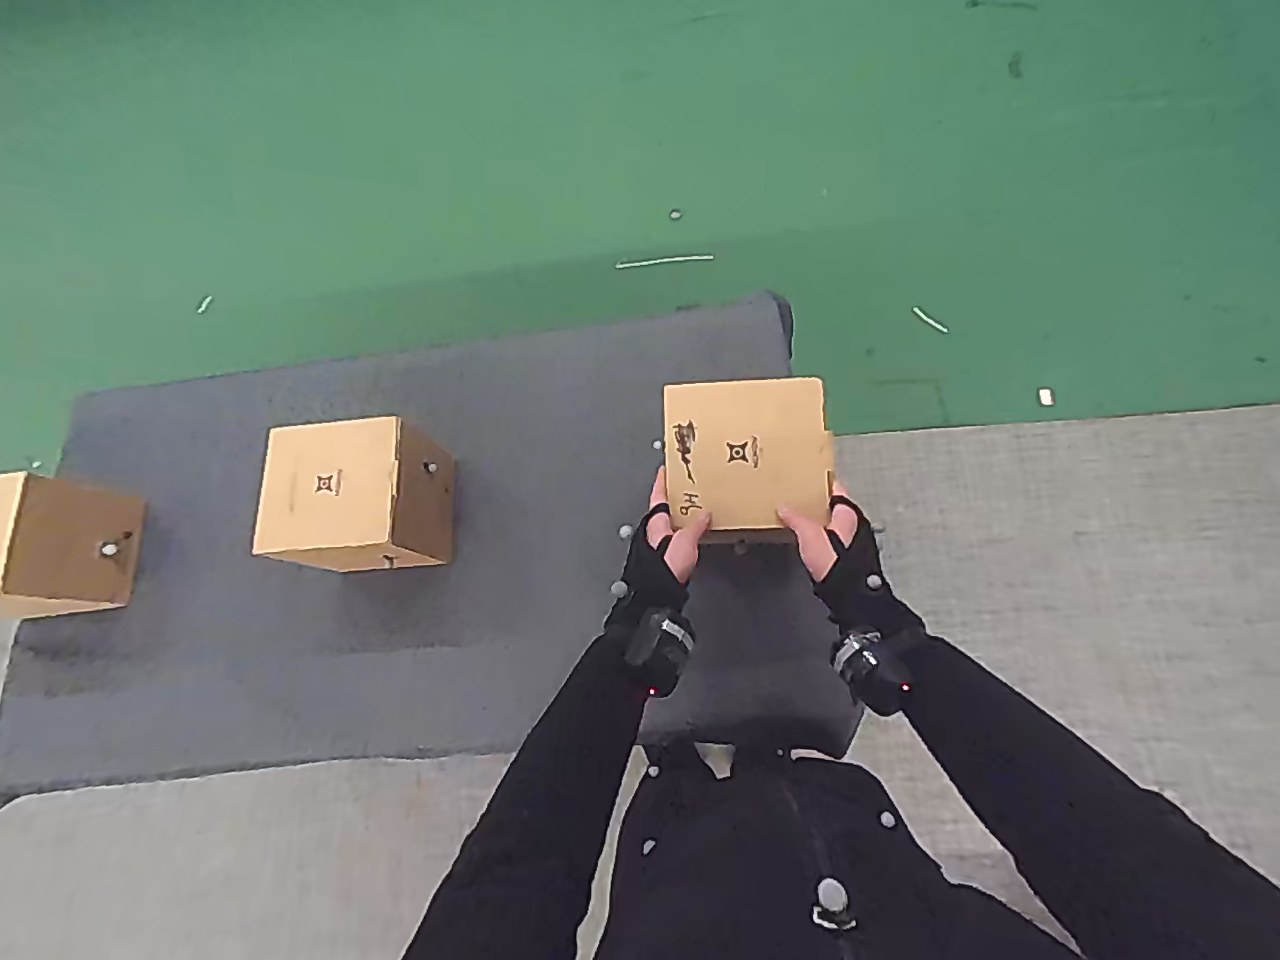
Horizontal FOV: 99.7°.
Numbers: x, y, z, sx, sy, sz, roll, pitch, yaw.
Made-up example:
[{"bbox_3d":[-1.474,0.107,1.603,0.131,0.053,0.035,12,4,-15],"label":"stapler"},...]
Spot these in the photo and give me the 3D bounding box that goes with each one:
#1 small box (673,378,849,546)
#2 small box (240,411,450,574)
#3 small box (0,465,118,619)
[{"bbox_3d":[0.130,-0.013,0.647,0.179,0.176,0.168,-1,77,3],"label":"small box"},{"bbox_3d":[-0.365,0.025,0.706,0.179,0.176,0.168,-5,70,3],"label":"small box"},{"bbox_3d":[-0.864,0.090,0.712,0.179,0.176,0.168,-7,72,0],"label":"small box"}]
